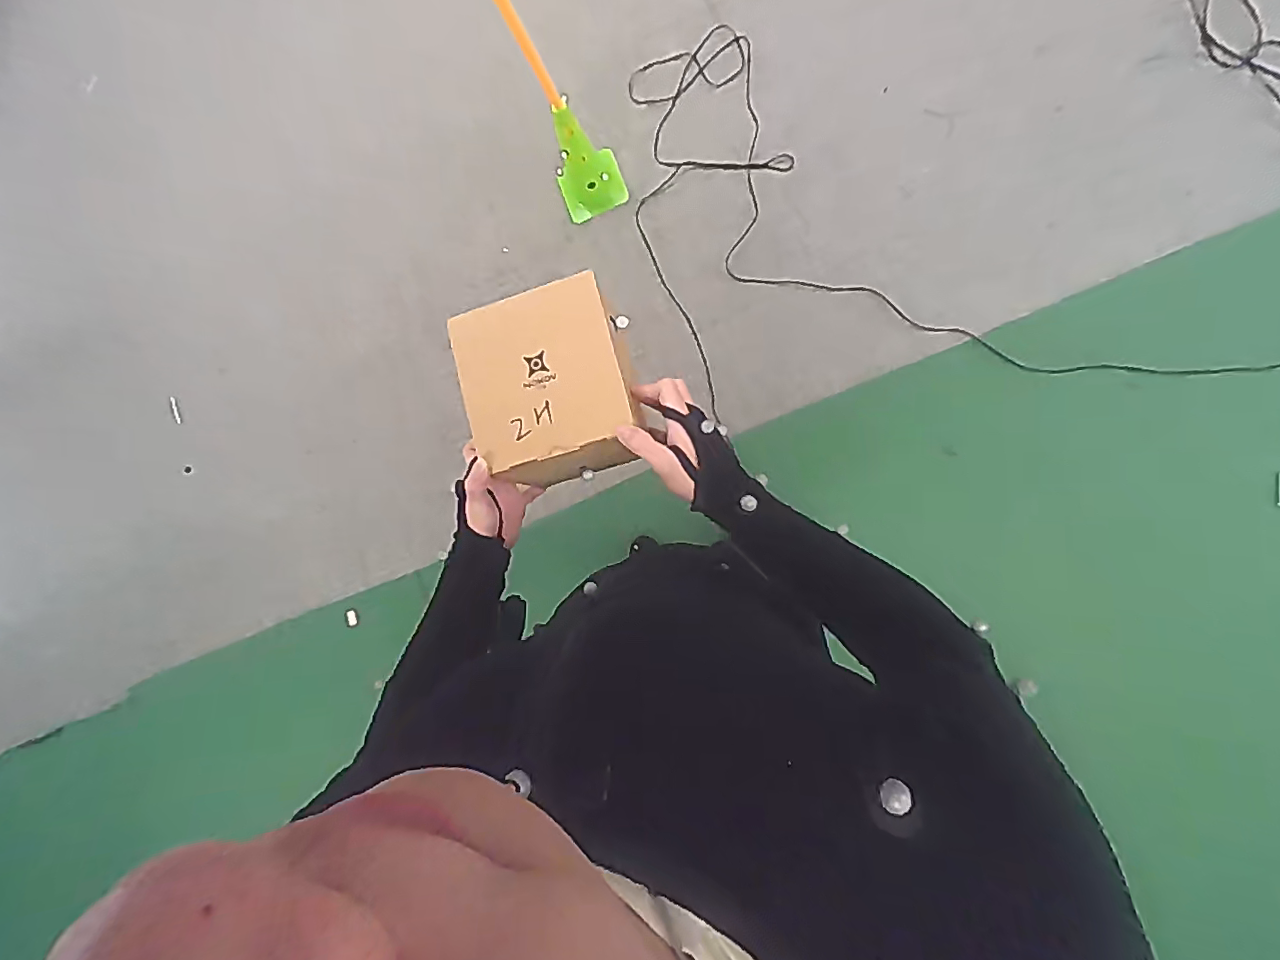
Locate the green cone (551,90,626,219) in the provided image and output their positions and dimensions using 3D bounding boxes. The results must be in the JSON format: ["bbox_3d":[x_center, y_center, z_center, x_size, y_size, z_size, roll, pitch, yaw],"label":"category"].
[{"bbox_3d":[-0.188,-0.965,1.562,0.202,0.368,0.200,-22,84,6],"label":"green cone"}]
